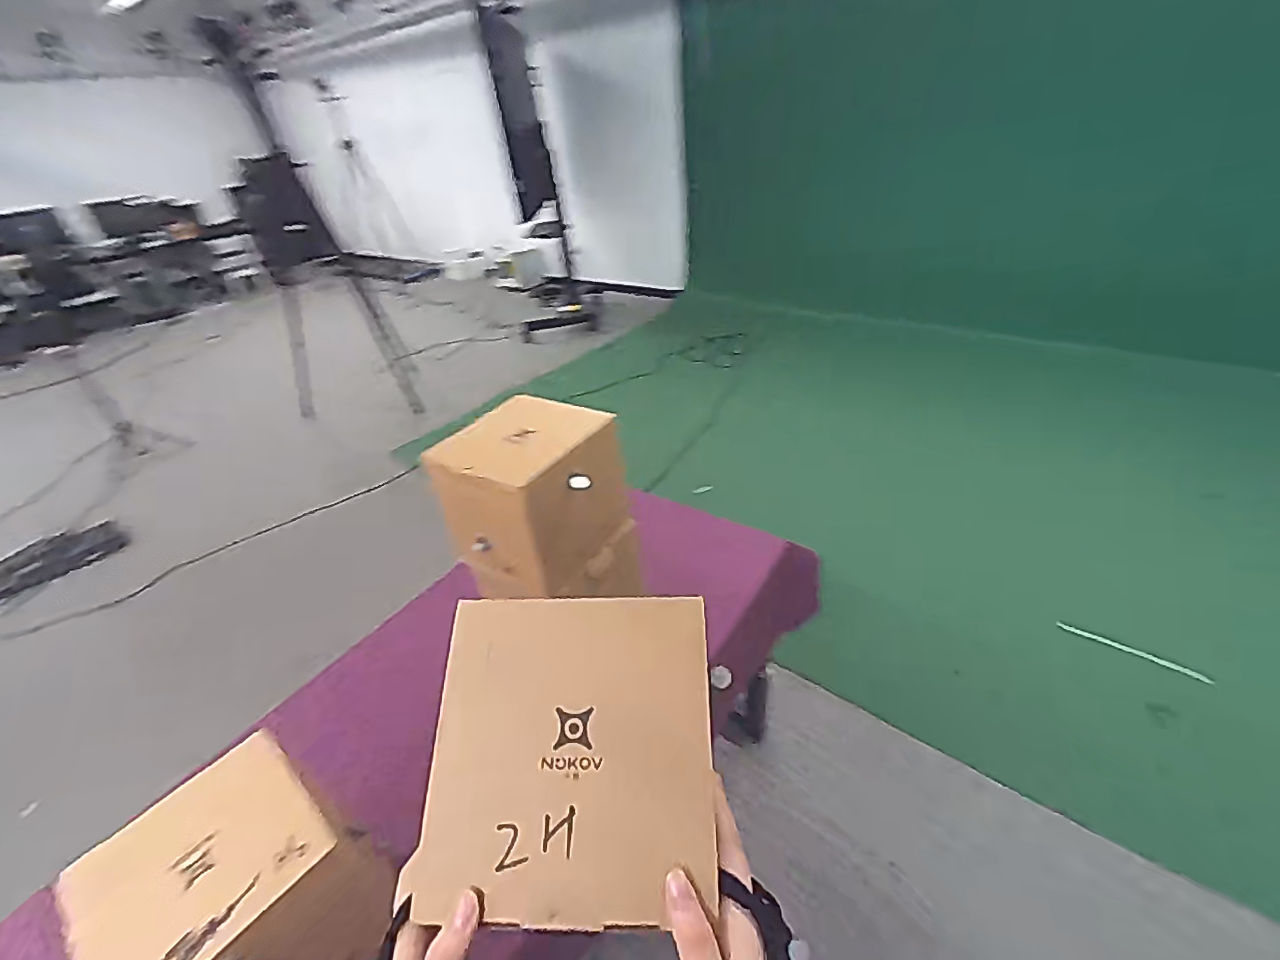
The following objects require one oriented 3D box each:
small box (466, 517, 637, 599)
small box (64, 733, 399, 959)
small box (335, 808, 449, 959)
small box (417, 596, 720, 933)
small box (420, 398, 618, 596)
[{"bbox_3d":[-0.121,0.147,0.797,0.179,0.176,0.168,15,40,32],"label":"small box"},{"bbox_3d":[-0.361,0.385,0.498,0.179,0.176,0.168,21,45,36],"label":"small box"},{"bbox_3d":[-0.343,0.520,0.593,0.179,0.176,0.168,22,45,35],"label":"small box"},{"bbox_3d":[-0.031,0.193,0.393,0.168,0.176,0.179,-1,63,5],"label":"small box"},{"bbox_3d":[-0.143,0.016,0.704,0.168,0.176,0.179,15,41,30],"label":"small box"}]
